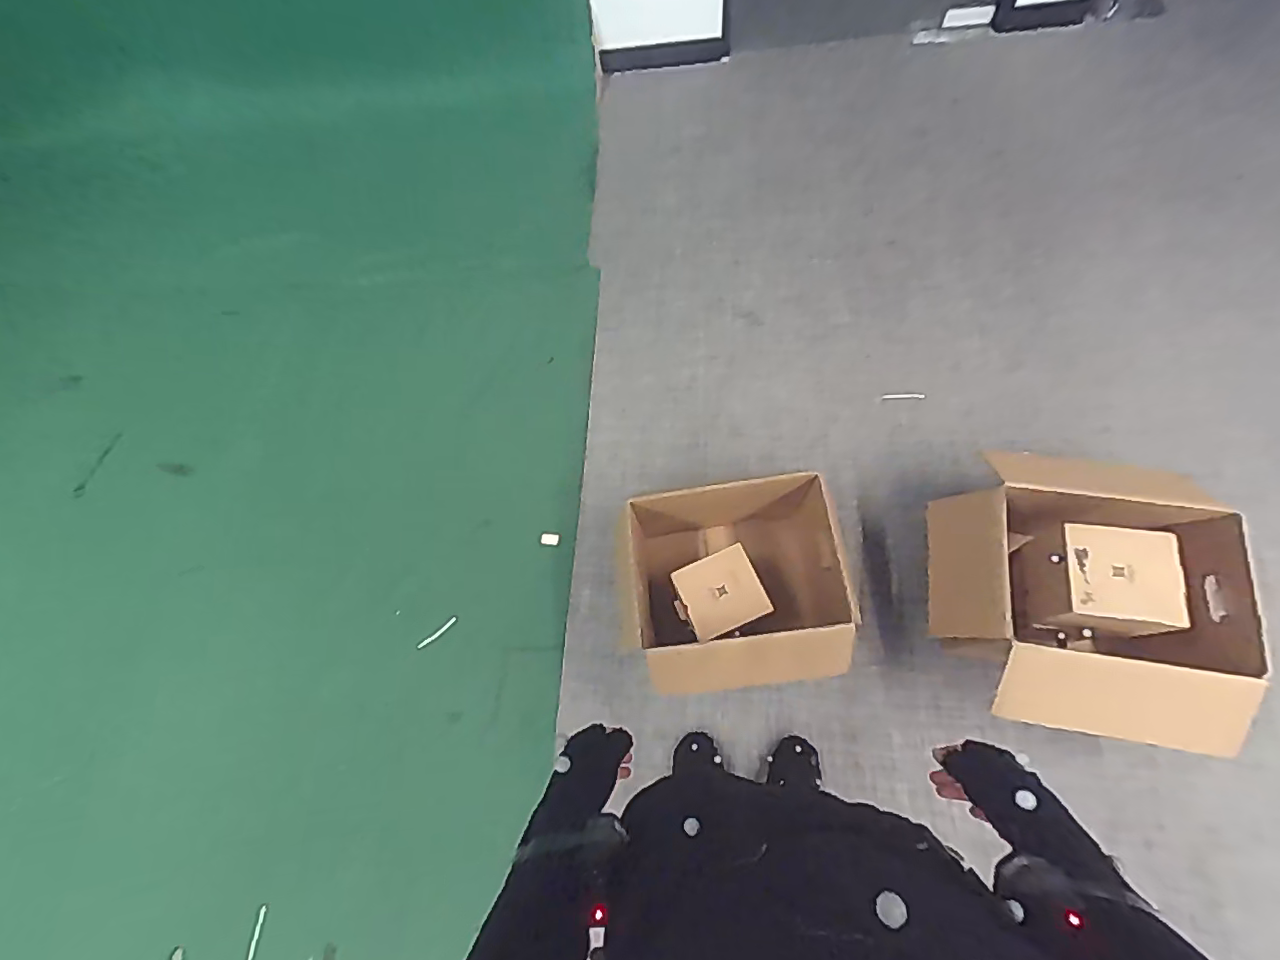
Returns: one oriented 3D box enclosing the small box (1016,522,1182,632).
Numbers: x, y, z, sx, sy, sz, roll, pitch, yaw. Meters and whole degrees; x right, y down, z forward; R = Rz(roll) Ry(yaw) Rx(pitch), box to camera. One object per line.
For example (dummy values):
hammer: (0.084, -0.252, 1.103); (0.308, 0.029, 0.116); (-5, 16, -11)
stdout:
small box: (0.858, 0.191, 1.030); (0.179, 0.176, 0.168); (6, 69, 11)
